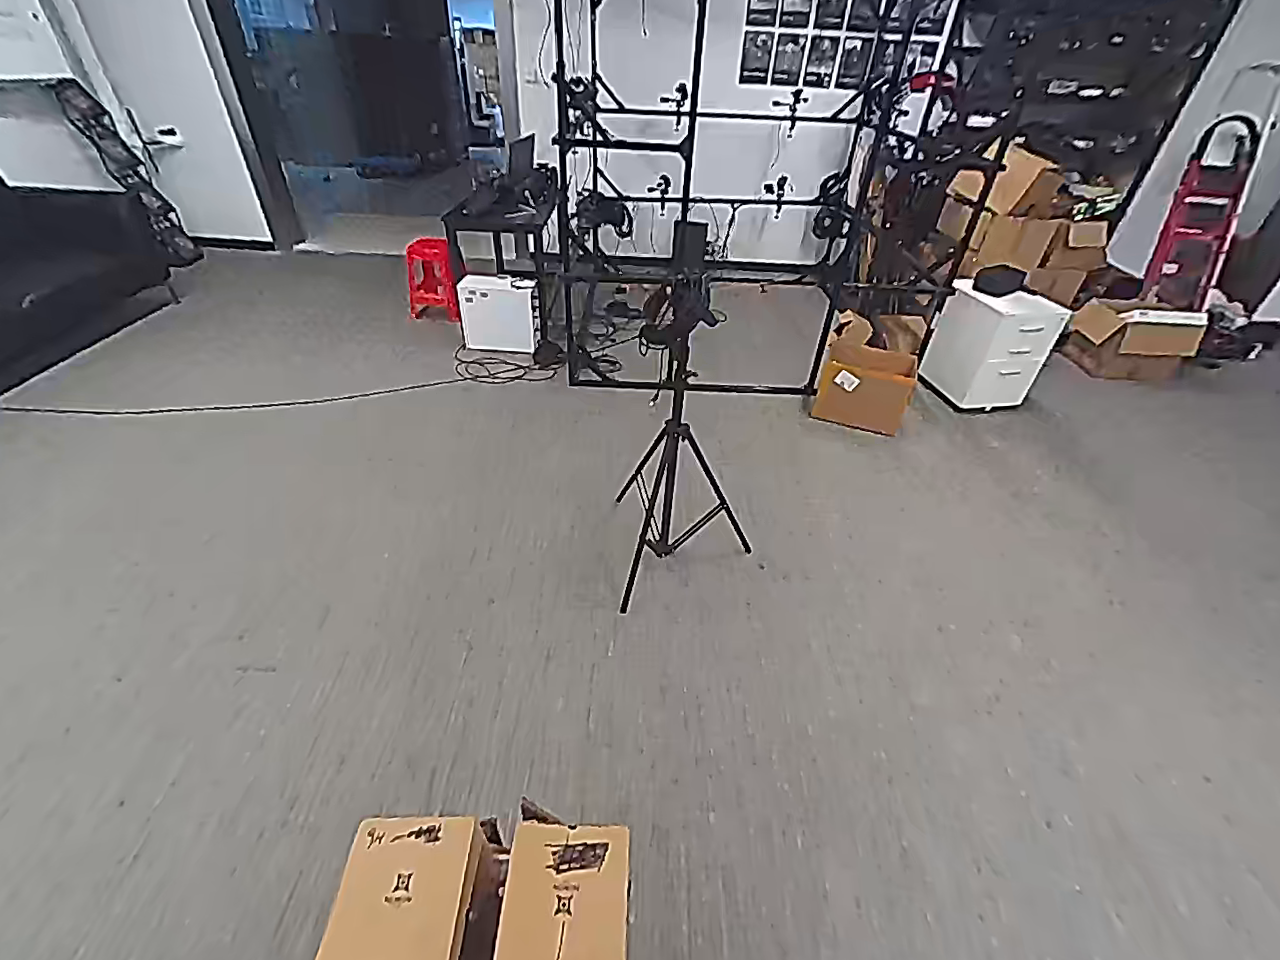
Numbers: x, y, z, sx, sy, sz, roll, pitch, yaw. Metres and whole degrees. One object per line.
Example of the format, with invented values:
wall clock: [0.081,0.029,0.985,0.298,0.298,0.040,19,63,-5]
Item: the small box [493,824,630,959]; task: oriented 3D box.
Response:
small box: [-0.105,0.619,0.767,0.168,0.176,0.179,4,40,-2]
